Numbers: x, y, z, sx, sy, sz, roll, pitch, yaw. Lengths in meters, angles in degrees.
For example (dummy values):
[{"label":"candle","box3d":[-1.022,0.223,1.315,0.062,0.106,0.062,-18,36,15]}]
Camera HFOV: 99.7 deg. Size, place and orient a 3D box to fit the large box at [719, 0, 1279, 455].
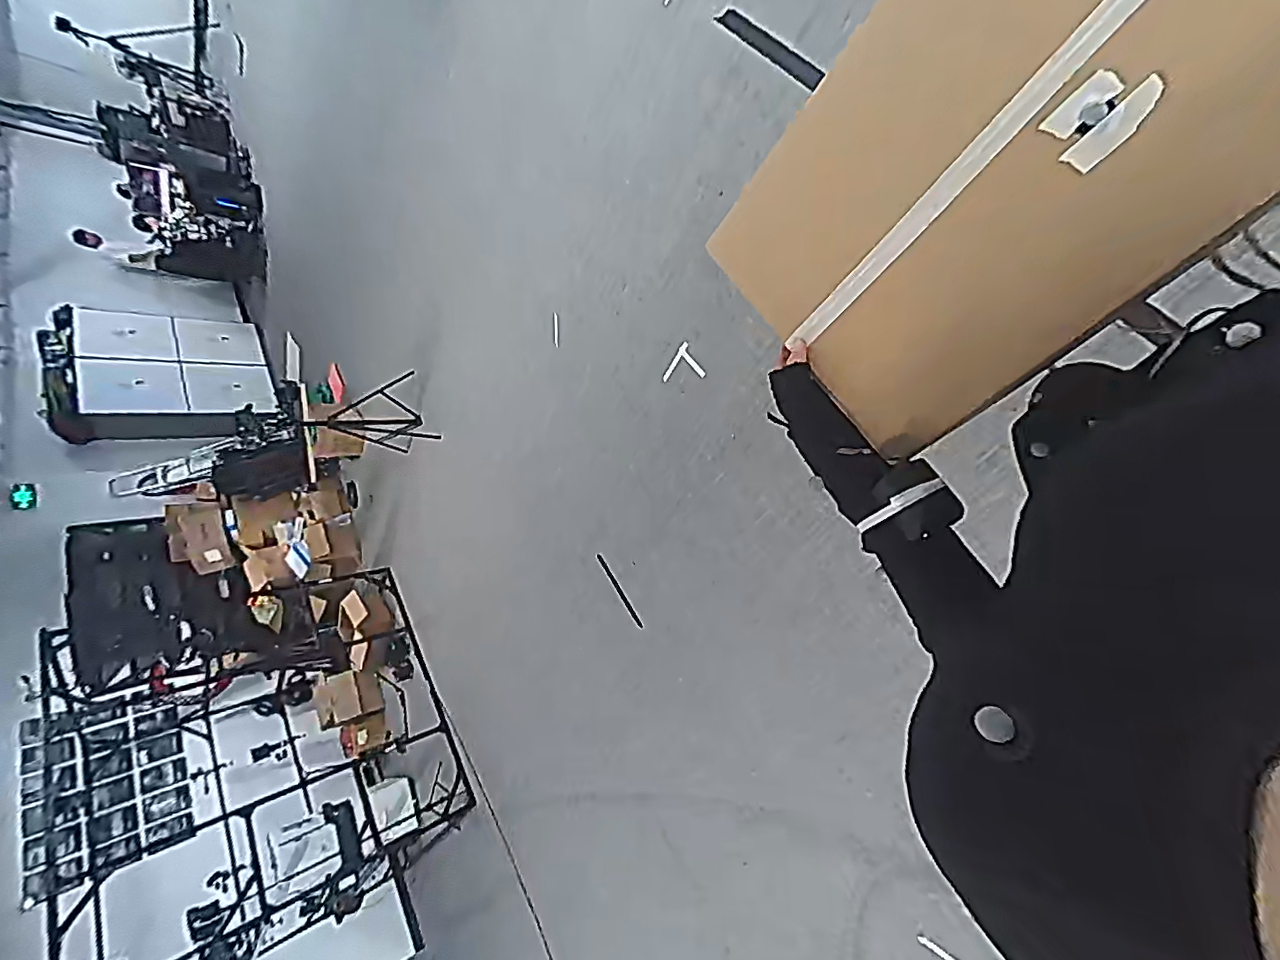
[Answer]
[{"label":"large box","box3d":[0.365,-0.283,0.551,0.320,0.320,0.408,55,130,15]}]
